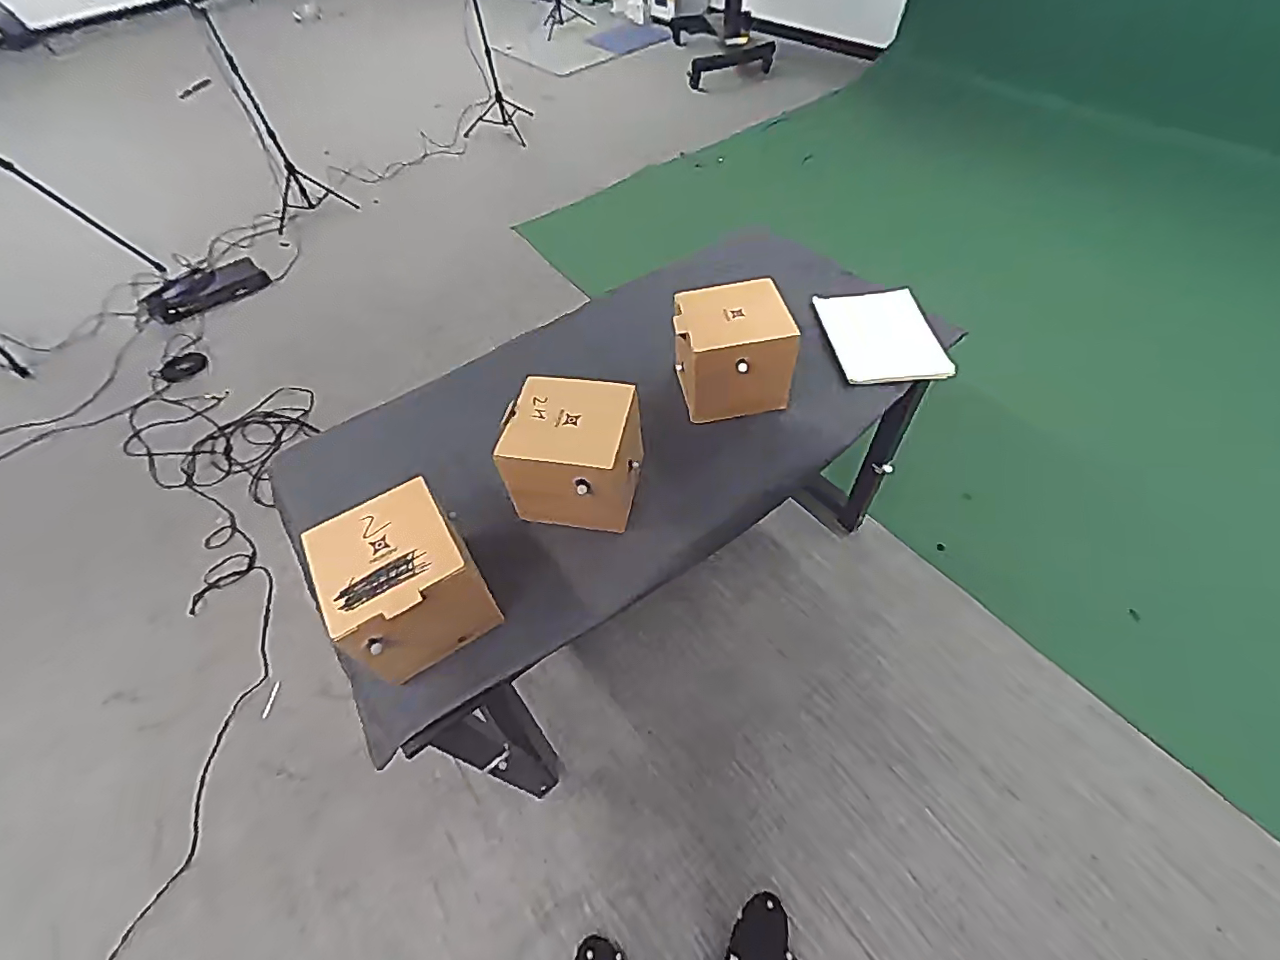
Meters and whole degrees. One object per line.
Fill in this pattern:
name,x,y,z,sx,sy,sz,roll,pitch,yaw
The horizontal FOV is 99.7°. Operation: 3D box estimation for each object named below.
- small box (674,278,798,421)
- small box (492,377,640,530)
small box,0.160,-0.228,0.964,0.179,0.176,0.168,-10,53,-1
small box,-0.101,-0.037,0.846,0.179,0.176,0.168,6,54,10
